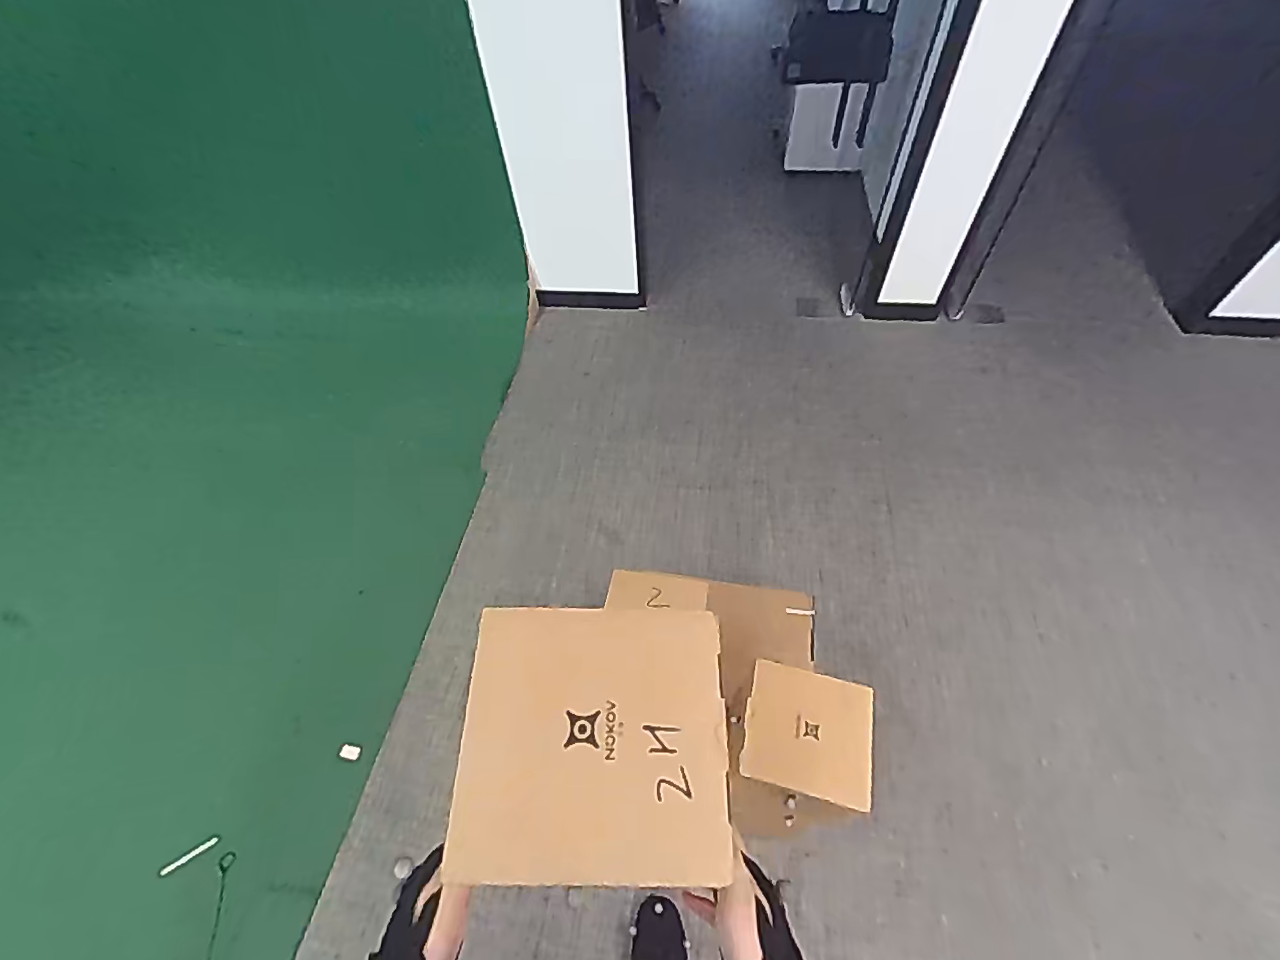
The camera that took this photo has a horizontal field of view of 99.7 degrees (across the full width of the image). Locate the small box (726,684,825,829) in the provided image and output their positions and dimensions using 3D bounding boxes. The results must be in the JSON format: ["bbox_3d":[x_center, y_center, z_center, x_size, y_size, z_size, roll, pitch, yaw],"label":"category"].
[{"bbox_3d":[0.238,0.492,0.955,0.168,0.176,0.179,11,53,10],"label":"small box"}]

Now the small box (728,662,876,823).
[{"bbox_3d":[0.240,0.401,0.819,0.179,0.176,0.168,11,54,11],"label":"small box"}]

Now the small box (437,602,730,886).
[{"bbox_3d":[-0.031,0.204,0.424,0.179,0.176,0.168,2,60,0],"label":"small box"}]
